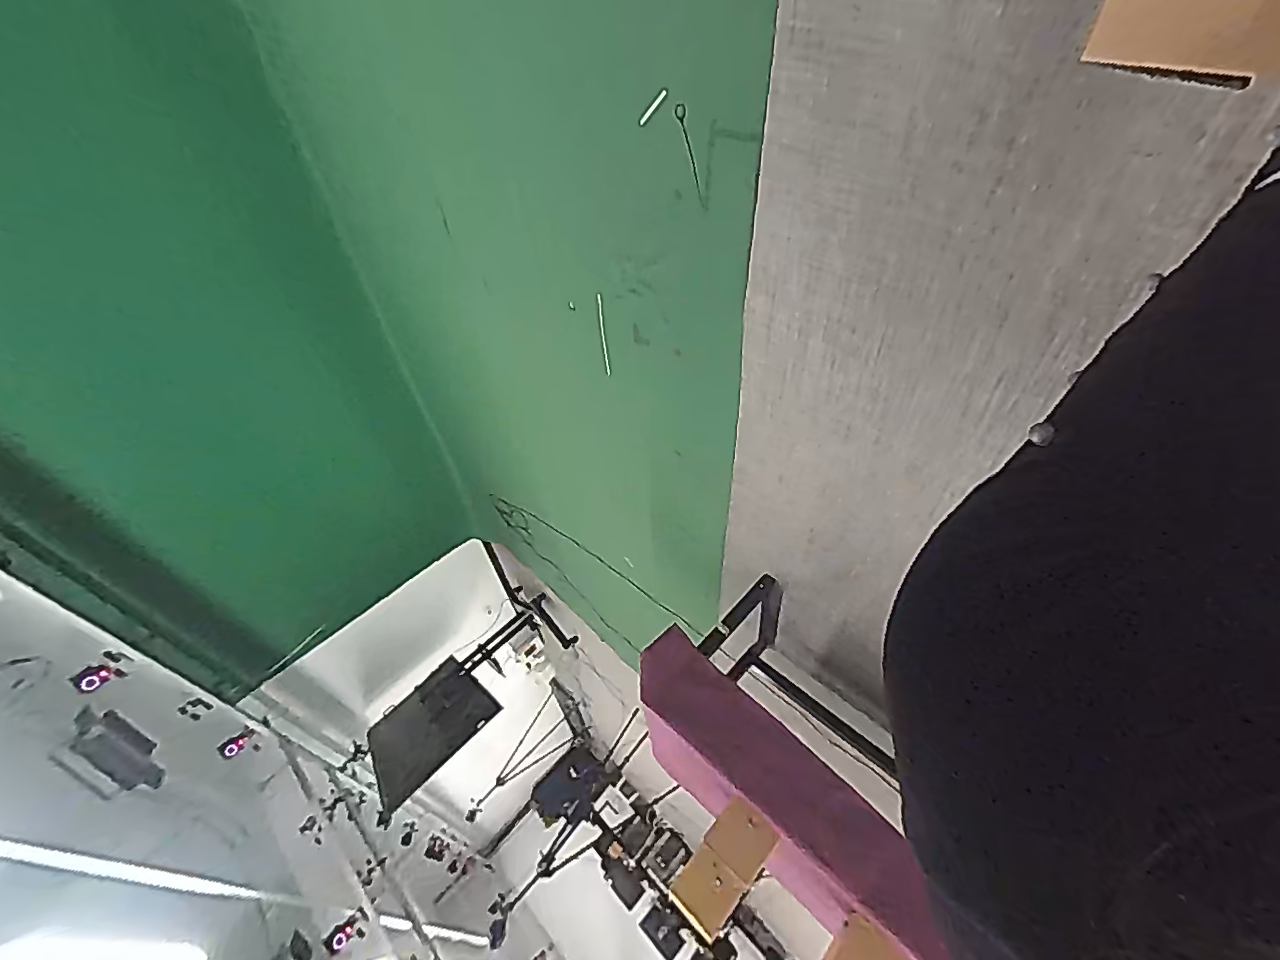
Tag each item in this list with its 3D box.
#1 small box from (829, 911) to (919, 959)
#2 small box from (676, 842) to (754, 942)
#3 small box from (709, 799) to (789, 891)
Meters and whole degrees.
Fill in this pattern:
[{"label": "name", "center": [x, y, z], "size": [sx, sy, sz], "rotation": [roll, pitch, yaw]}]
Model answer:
[{"label": "small box", "center": [0.637, 1.319, 1.462], "size": [0.179, 0.176, 0.168], "rotation": [35, 148, 30]}, {"label": "small box", "center": [0.225, 1.233, 1.624], "size": [0.168, 0.176, 0.179], "rotation": [33, 147, 30]}, {"label": "small box", "center": [0.336, 1.133, 1.691], "size": [0.179, 0.176, 0.168], "rotation": [34, 149, 31]}]
